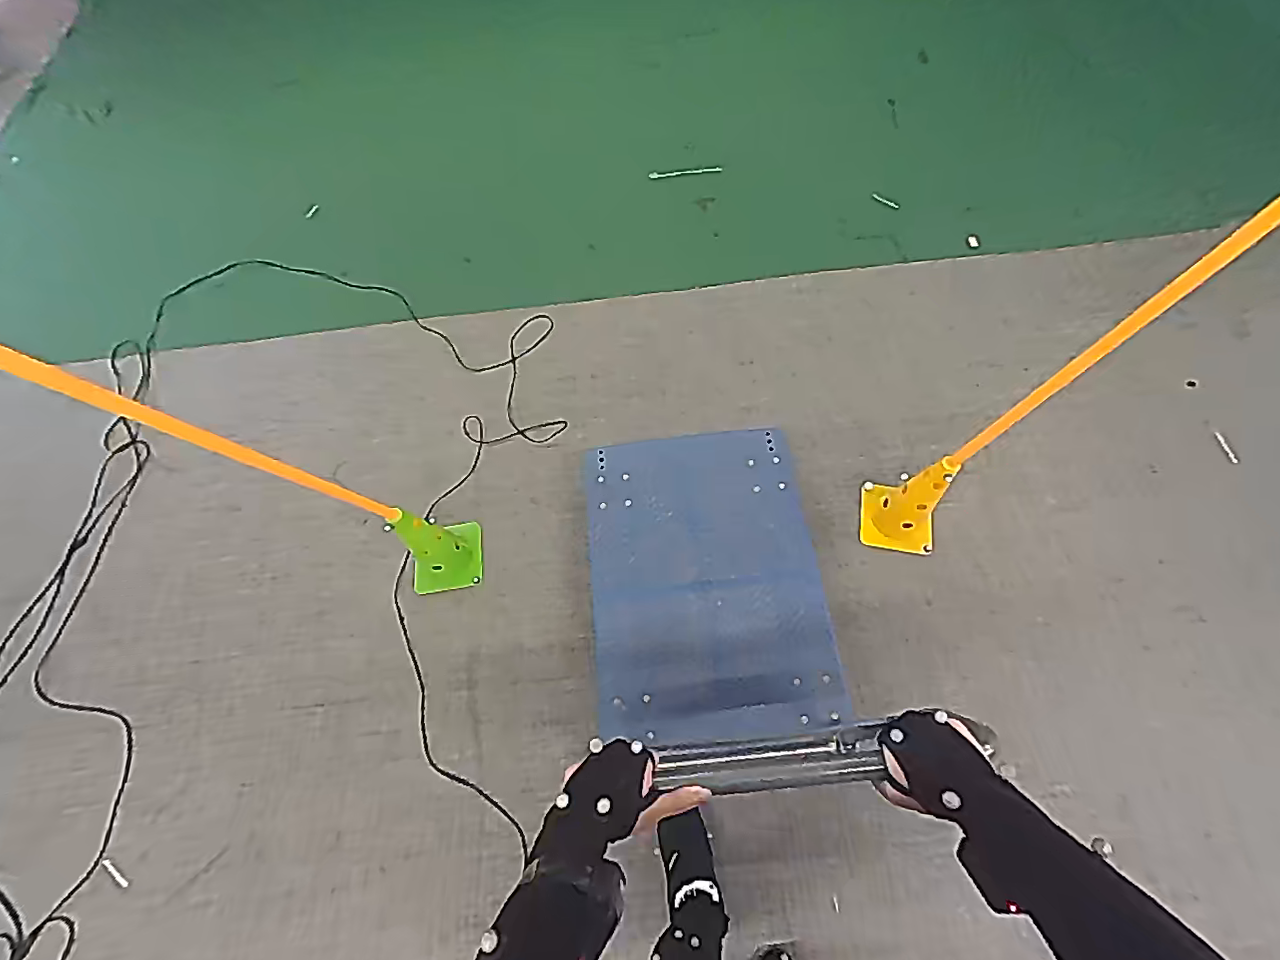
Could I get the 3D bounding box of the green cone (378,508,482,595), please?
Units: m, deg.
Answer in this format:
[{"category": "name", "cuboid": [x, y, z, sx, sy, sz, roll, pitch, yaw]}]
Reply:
[{"category": "green cone", "cuboid": [-0.584, 0.157, 1.446, 0.202, 0.368, 0.200, -11, 64, 0]}]
